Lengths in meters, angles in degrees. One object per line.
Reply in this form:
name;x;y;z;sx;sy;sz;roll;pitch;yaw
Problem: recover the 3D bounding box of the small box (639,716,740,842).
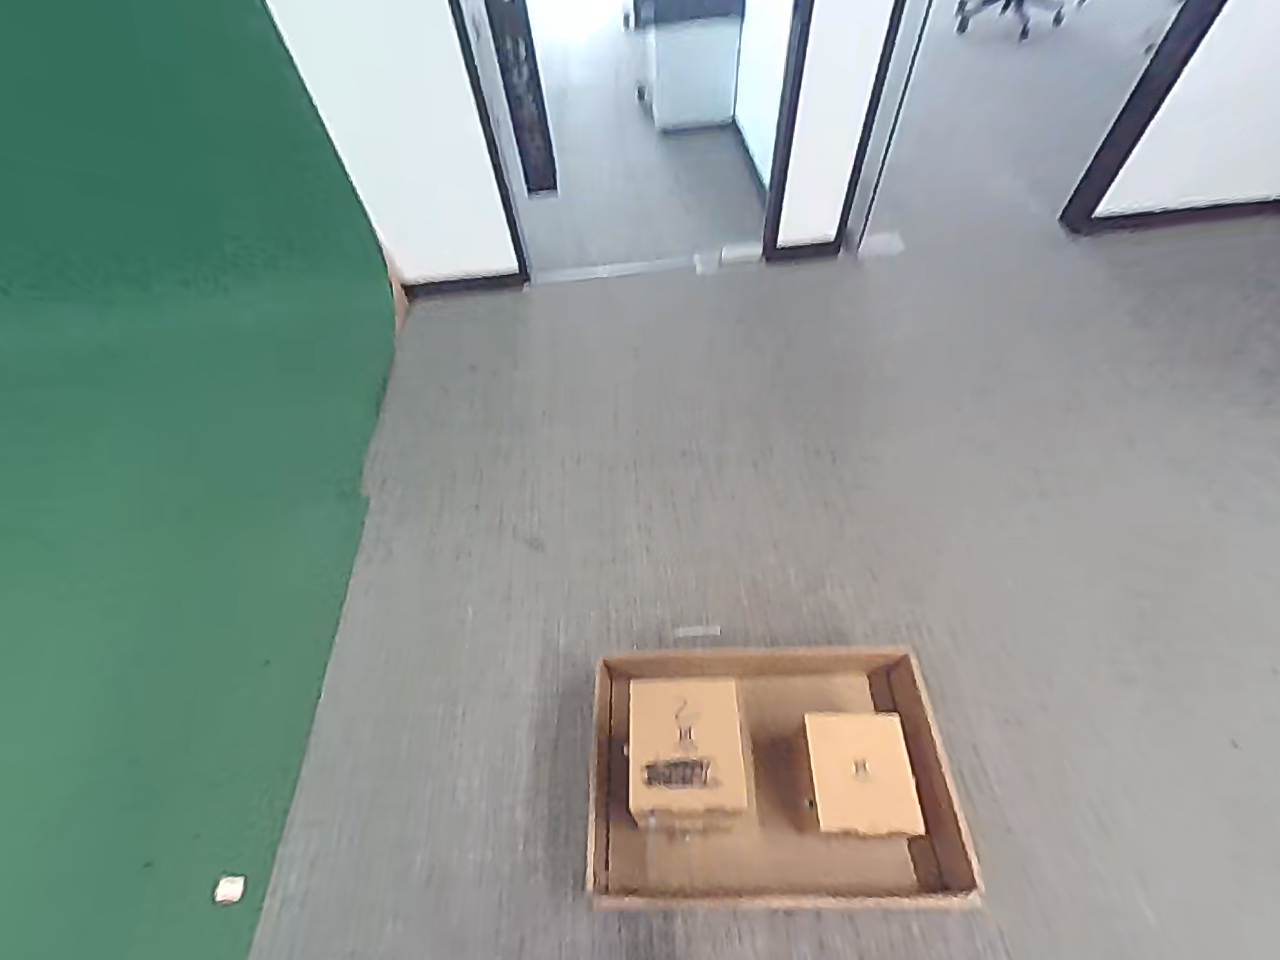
small box;0.085;0.543;0.980;0.168;0.176;0.179;-2;52;3
